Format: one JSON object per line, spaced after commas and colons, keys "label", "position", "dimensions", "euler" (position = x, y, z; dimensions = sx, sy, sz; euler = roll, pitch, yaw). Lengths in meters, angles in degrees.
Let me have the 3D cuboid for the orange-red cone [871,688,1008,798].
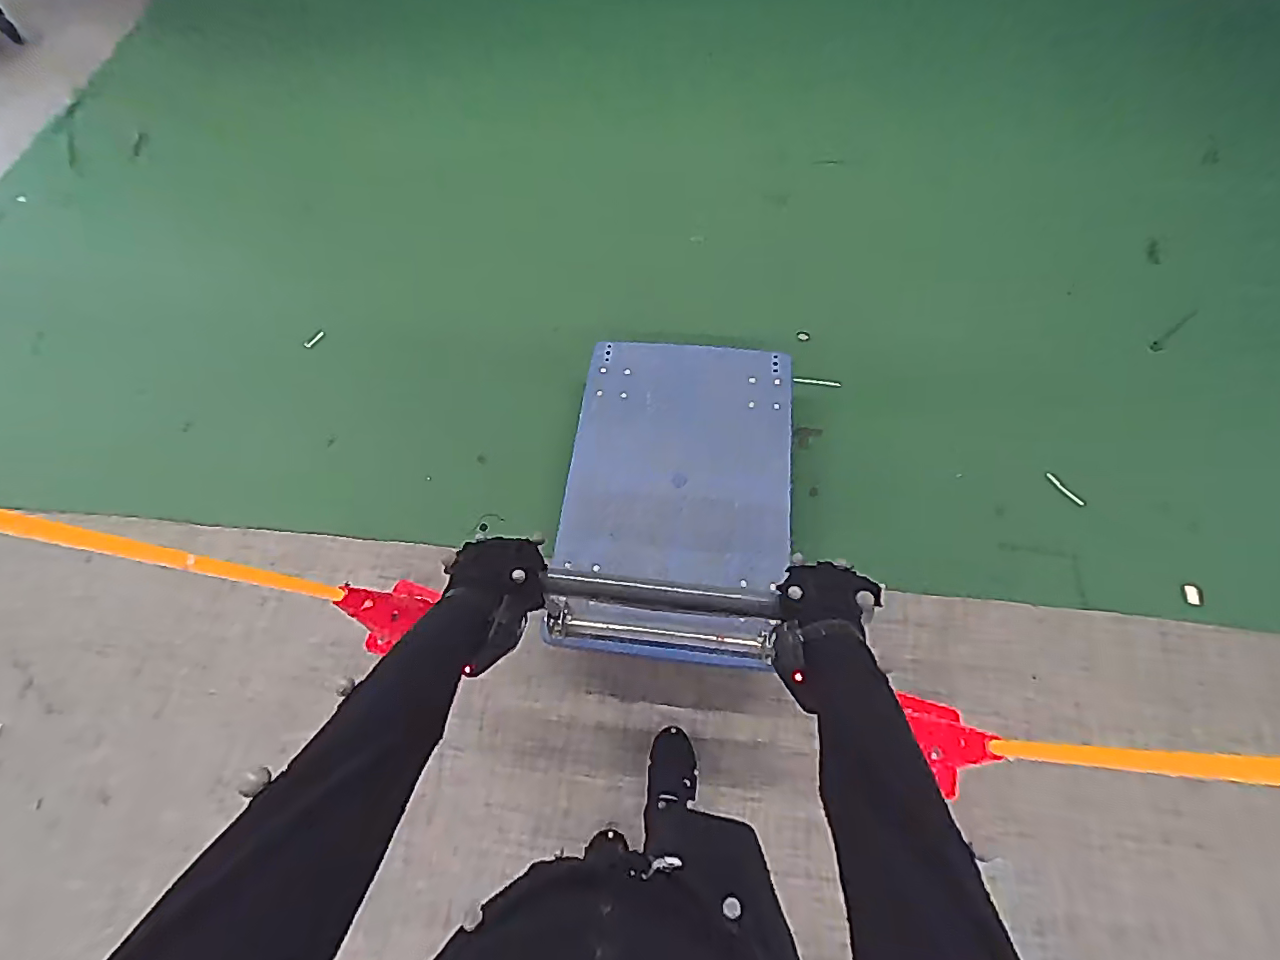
{"label": "orange-red cone", "position": [0.644, 0.542, 1.113], "dimensions": [0.198, 0.360, 0.199], "euler": [15, 68, 10]}
